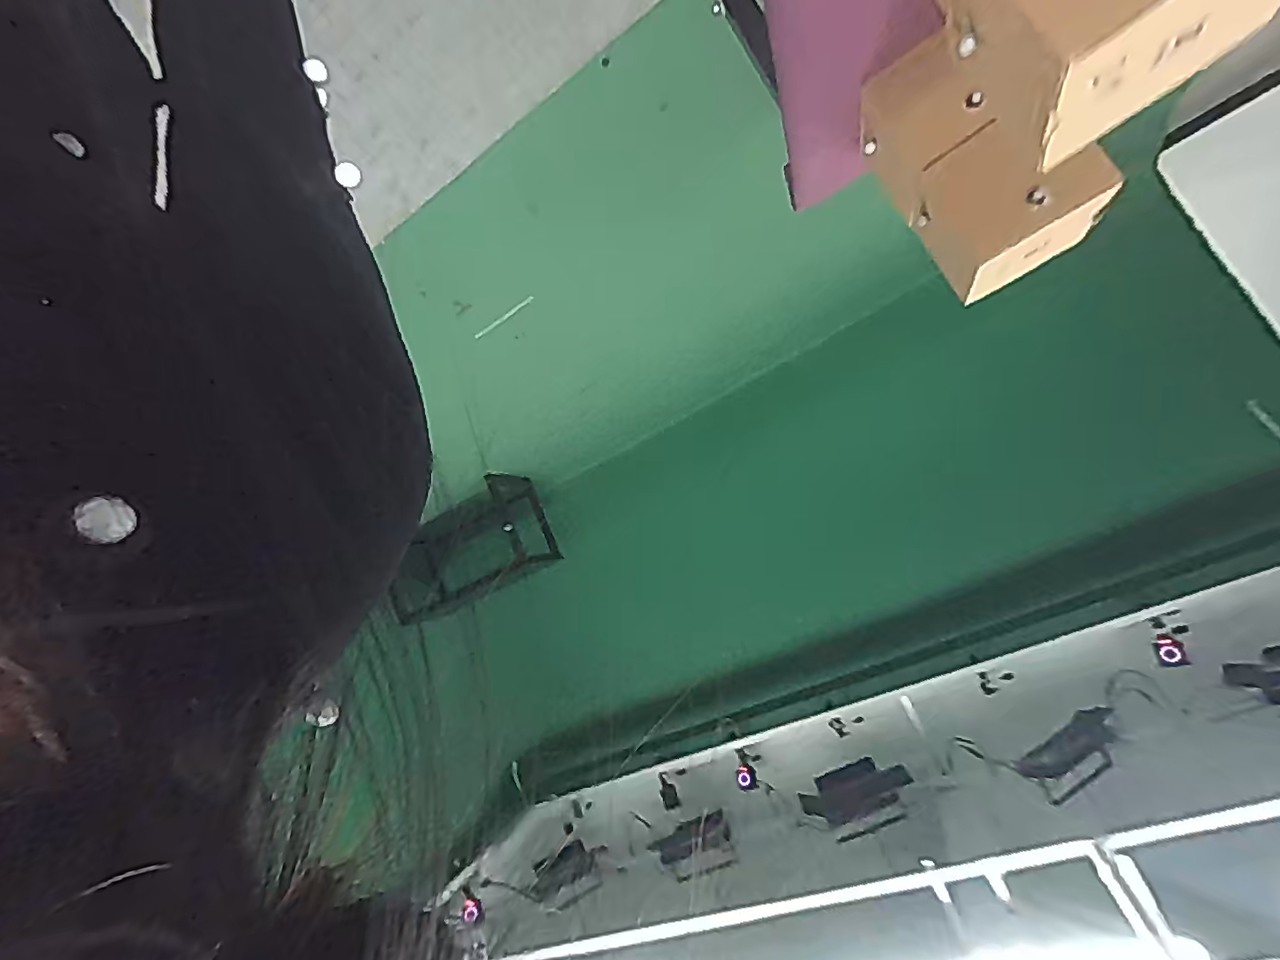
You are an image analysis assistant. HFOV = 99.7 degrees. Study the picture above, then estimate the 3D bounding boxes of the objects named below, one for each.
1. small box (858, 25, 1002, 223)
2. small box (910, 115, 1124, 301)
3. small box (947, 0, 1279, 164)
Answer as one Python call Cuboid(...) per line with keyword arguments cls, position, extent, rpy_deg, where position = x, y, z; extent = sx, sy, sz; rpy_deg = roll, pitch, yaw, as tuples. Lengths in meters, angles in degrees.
Cuboid(cls="small box", position=(0.456, -0.543, 0.820), extent=(0.179, 0.176, 0.168), rpy_deg=(-28, 167, 18))
Cuboid(cls="small box", position=(0.522, -0.400, 0.780), extent=(0.179, 0.176, 0.168), rpy_deg=(-29, 166, 20))
Cuboid(cls="small box", position=(0.376, -0.411, 0.428), extent=(0.179, 0.176, 0.168), rpy_deg=(-31, 166, 28))
